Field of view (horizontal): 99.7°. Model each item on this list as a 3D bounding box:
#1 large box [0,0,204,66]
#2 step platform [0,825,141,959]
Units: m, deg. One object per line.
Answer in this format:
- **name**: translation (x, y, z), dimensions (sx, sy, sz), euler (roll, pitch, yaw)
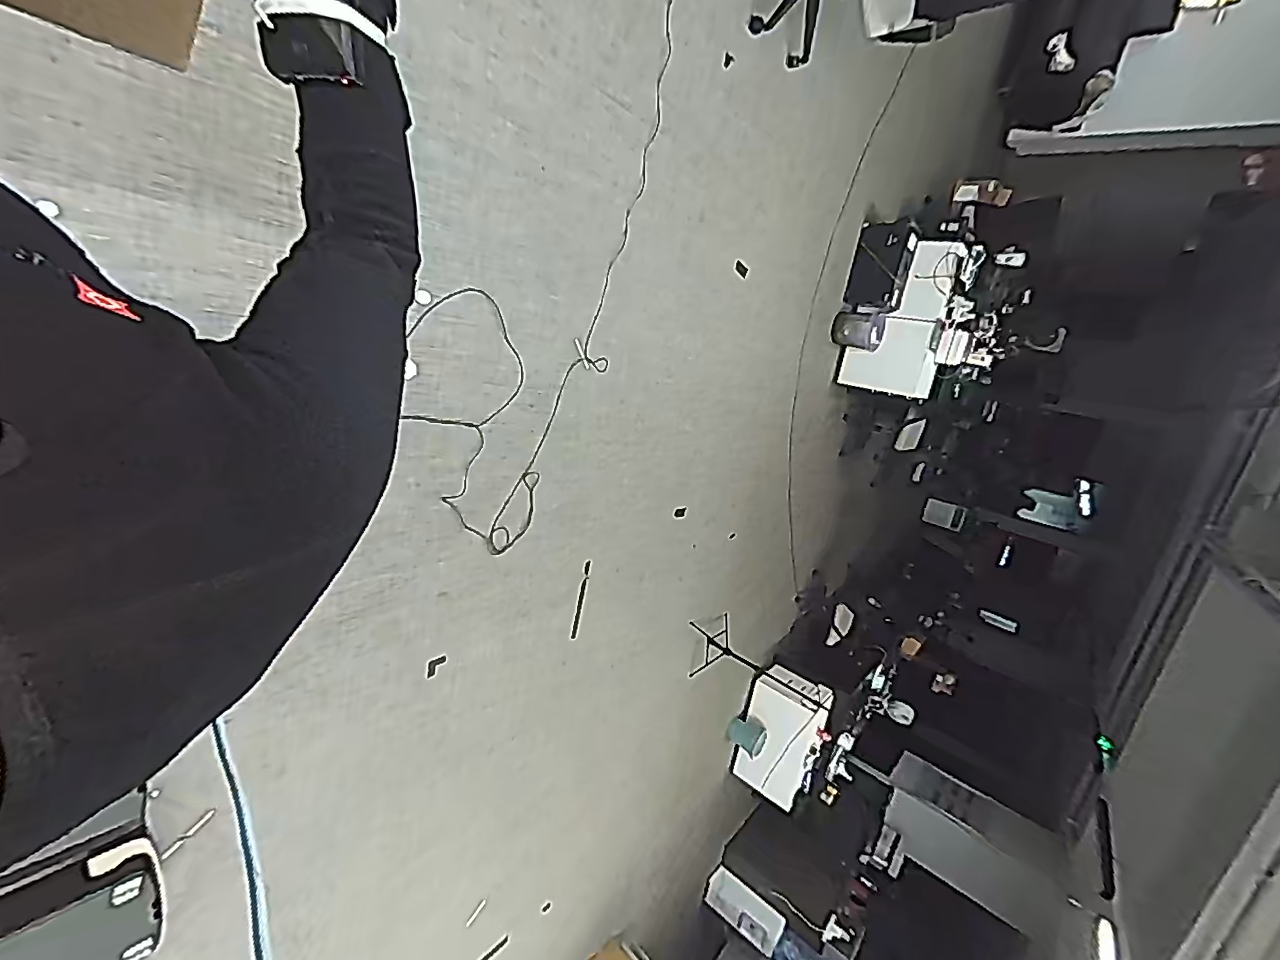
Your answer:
- **large box**: translation (-0.467, -0.508, 0.260), dimensions (0.408, 0.320, 0.320), euler (-2, 103, -43)
- **step platform**: translation (-1.445, 1.027, 1.064), dimensions (0.684, 0.204, 0.286), euler (-10, 115, -49)
